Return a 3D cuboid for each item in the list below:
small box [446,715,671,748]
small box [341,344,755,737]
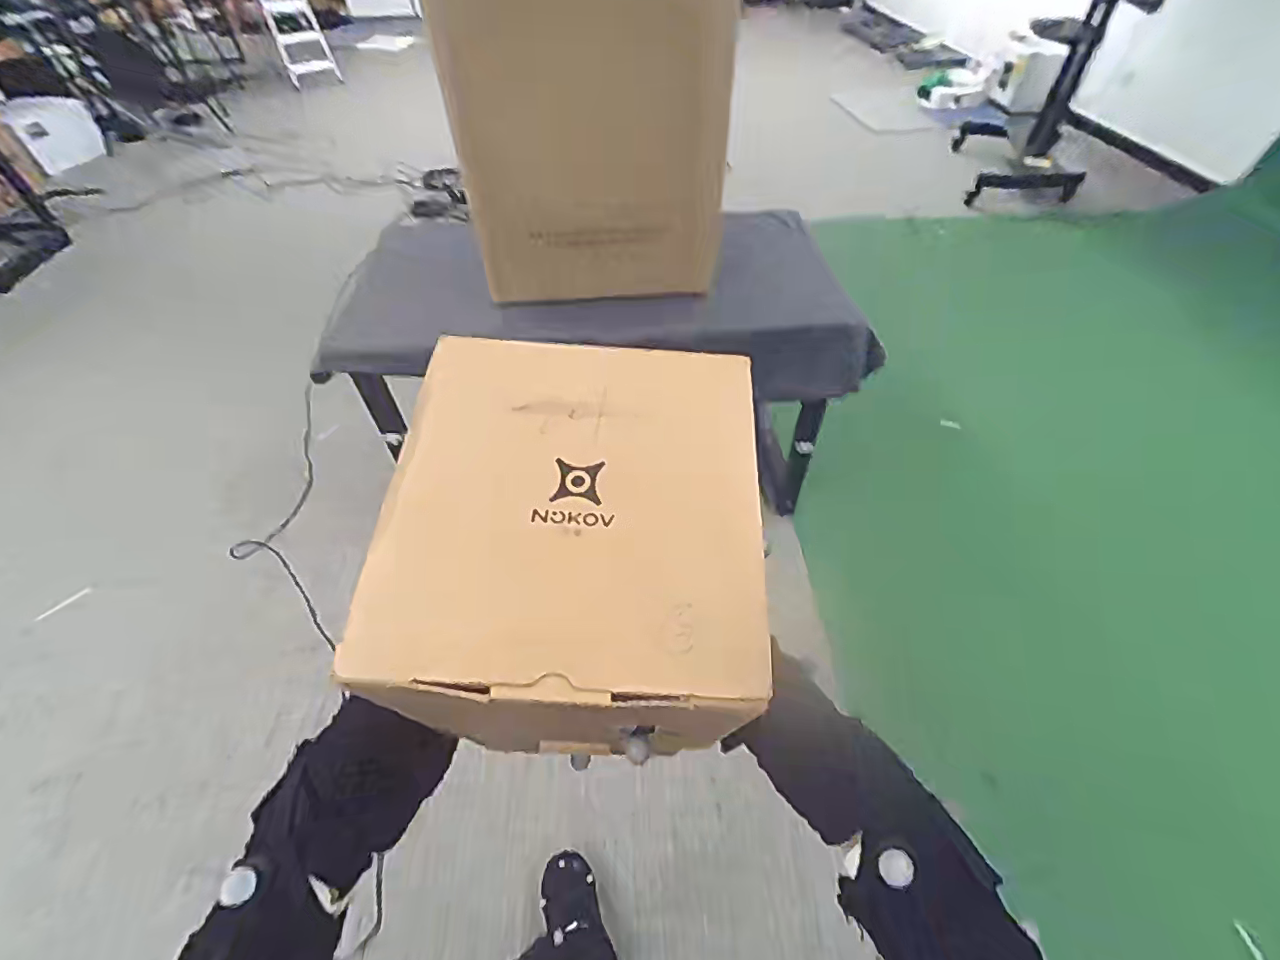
[{"bbox_3d":[-0.048,0.127,0.461,0.168,0.176,0.179,2,59,-3],"label":"small box"},{"bbox_3d":[-0.036,0.046,0.320,0.168,0.176,0.179,4,57,-2],"label":"small box"}]
